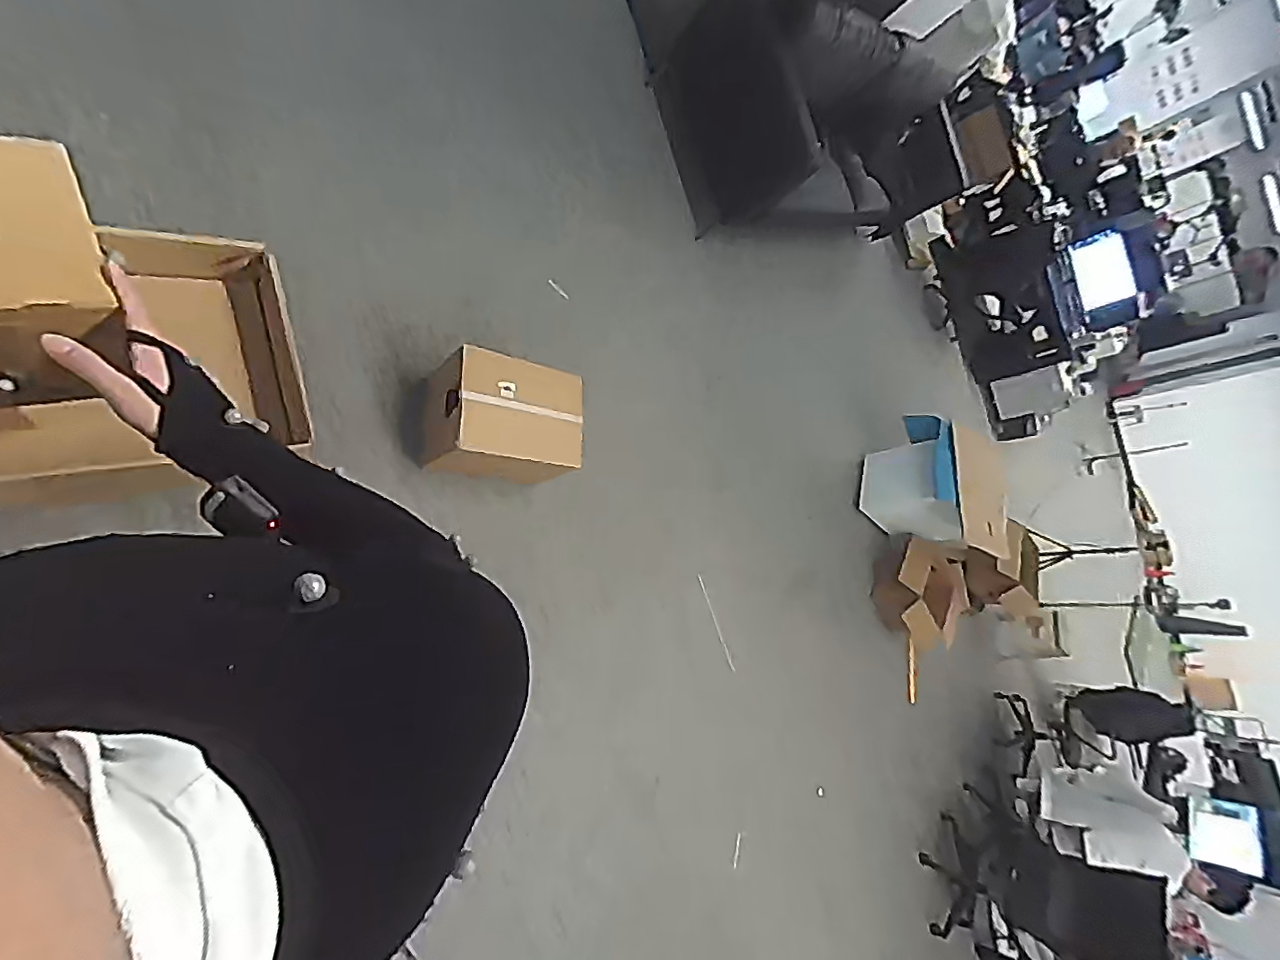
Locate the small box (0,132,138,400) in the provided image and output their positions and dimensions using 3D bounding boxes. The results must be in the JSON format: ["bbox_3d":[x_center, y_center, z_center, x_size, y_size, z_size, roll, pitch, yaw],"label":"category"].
[{"bbox_3d":[-0.600,-0.190,0.498,0.168,0.176,0.179,-19,83,-42],"label":"small box"}]

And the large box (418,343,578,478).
[{"bbox_3d":[-0.448,-0.195,1.726,0.408,0.320,0.320,8,75,-39],"label":"large box"}]
